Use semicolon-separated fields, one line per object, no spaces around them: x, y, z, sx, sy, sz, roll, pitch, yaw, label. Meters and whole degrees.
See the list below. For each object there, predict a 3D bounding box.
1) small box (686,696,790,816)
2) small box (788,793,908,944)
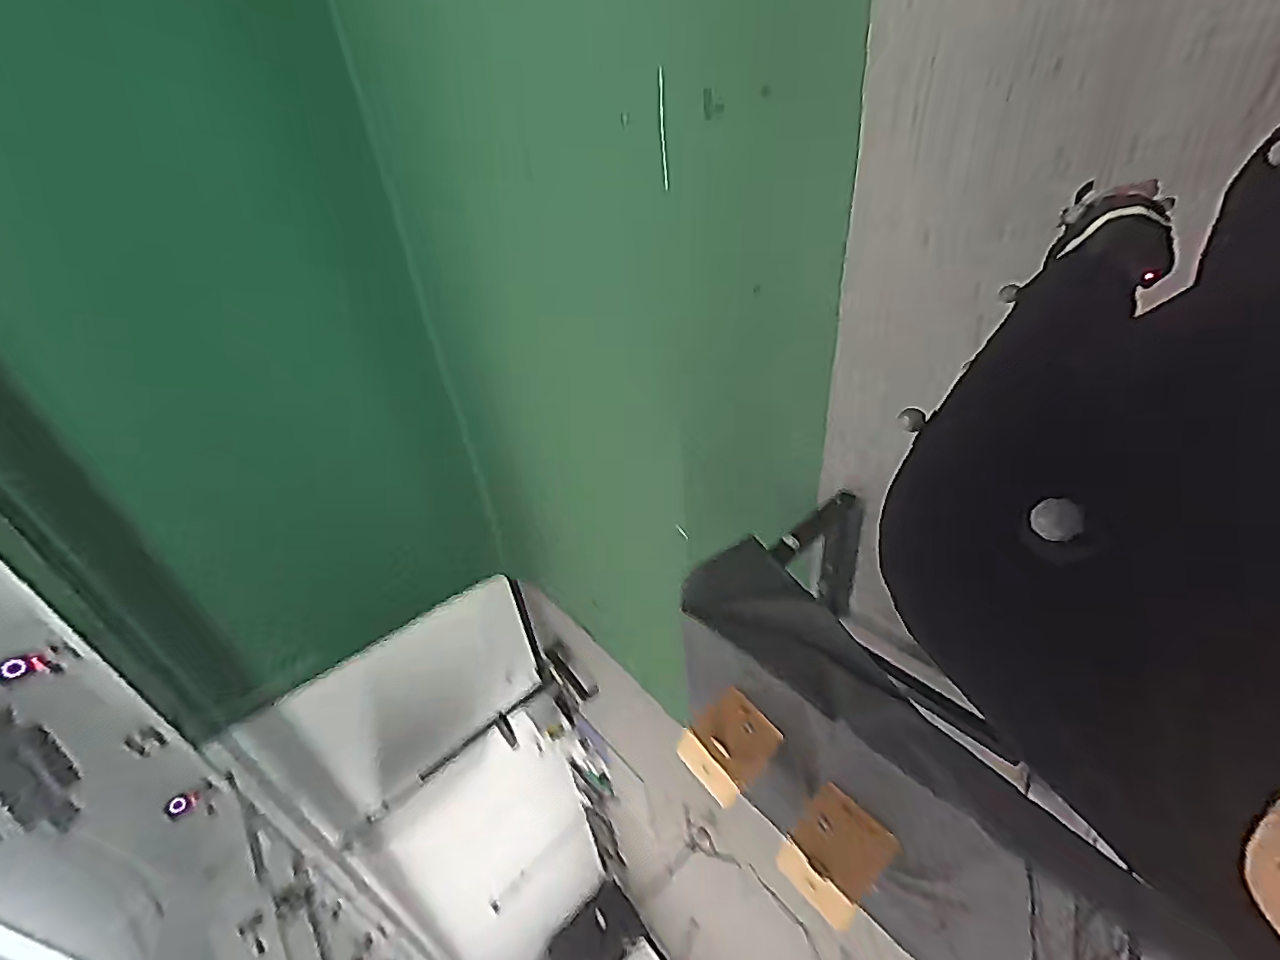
0.237;0.663;1.306;0.168;0.176;0.179;41;144;29;small box
0.437;0.810;1.142;0.168;0.176;0.179;32;141;40;small box
